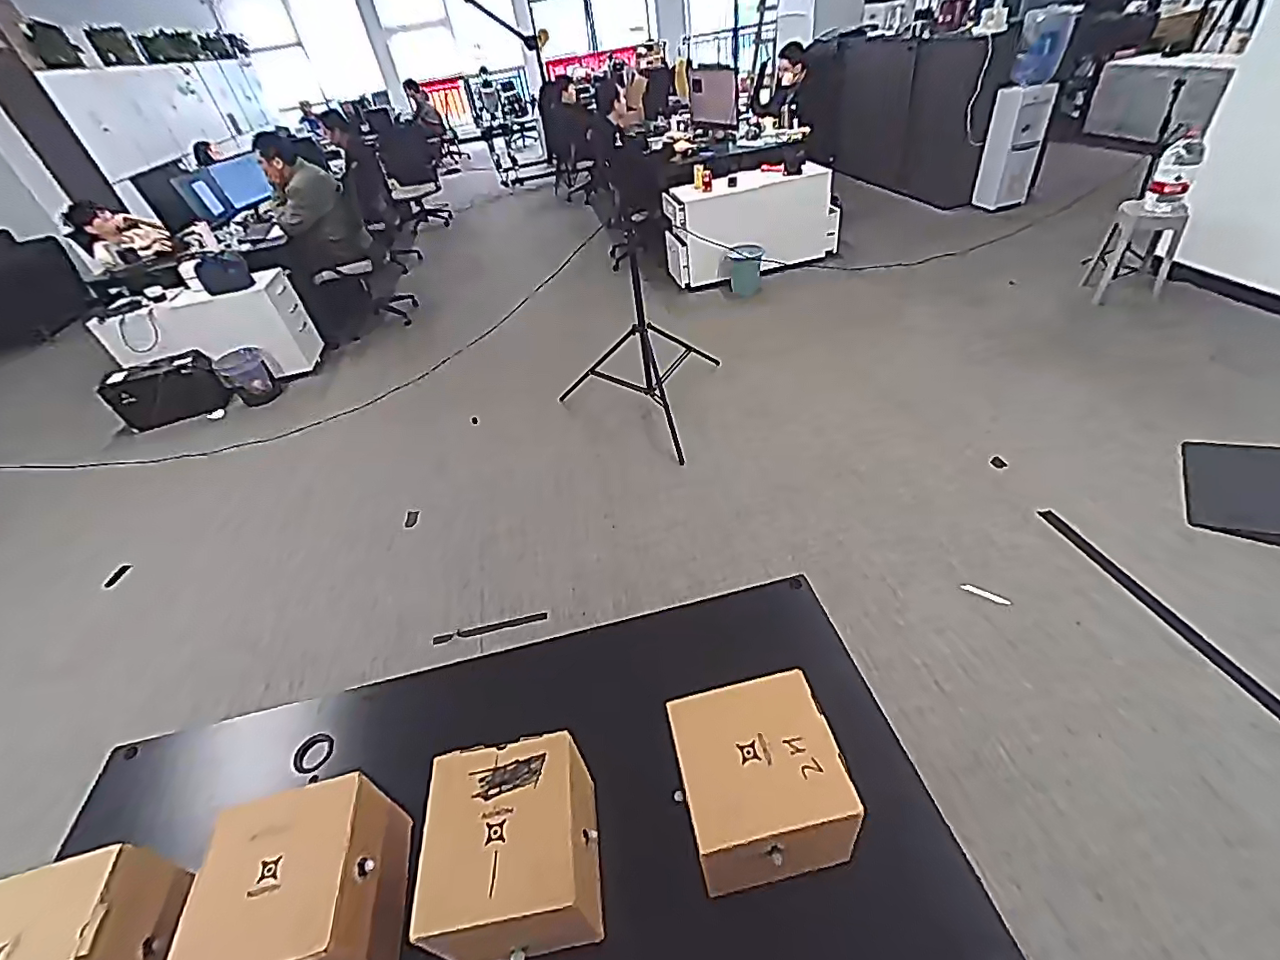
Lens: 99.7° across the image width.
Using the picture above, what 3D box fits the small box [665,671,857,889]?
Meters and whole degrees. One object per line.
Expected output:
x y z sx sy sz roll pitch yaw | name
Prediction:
0.139 0.367 0.660 0.179 0.176 0.168 -12 40 -3 | small box

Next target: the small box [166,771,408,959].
-0.389 0.482 0.632 0.168 0.176 0.179 -13 39 -6 | small box

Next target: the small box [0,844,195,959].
-0.642 0.546 0.603 0.179 0.176 0.168 -14 40 -7 | small box

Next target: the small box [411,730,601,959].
-0.144 0.432 0.640 0.168 0.176 0.179 -11 40 -1 | small box
